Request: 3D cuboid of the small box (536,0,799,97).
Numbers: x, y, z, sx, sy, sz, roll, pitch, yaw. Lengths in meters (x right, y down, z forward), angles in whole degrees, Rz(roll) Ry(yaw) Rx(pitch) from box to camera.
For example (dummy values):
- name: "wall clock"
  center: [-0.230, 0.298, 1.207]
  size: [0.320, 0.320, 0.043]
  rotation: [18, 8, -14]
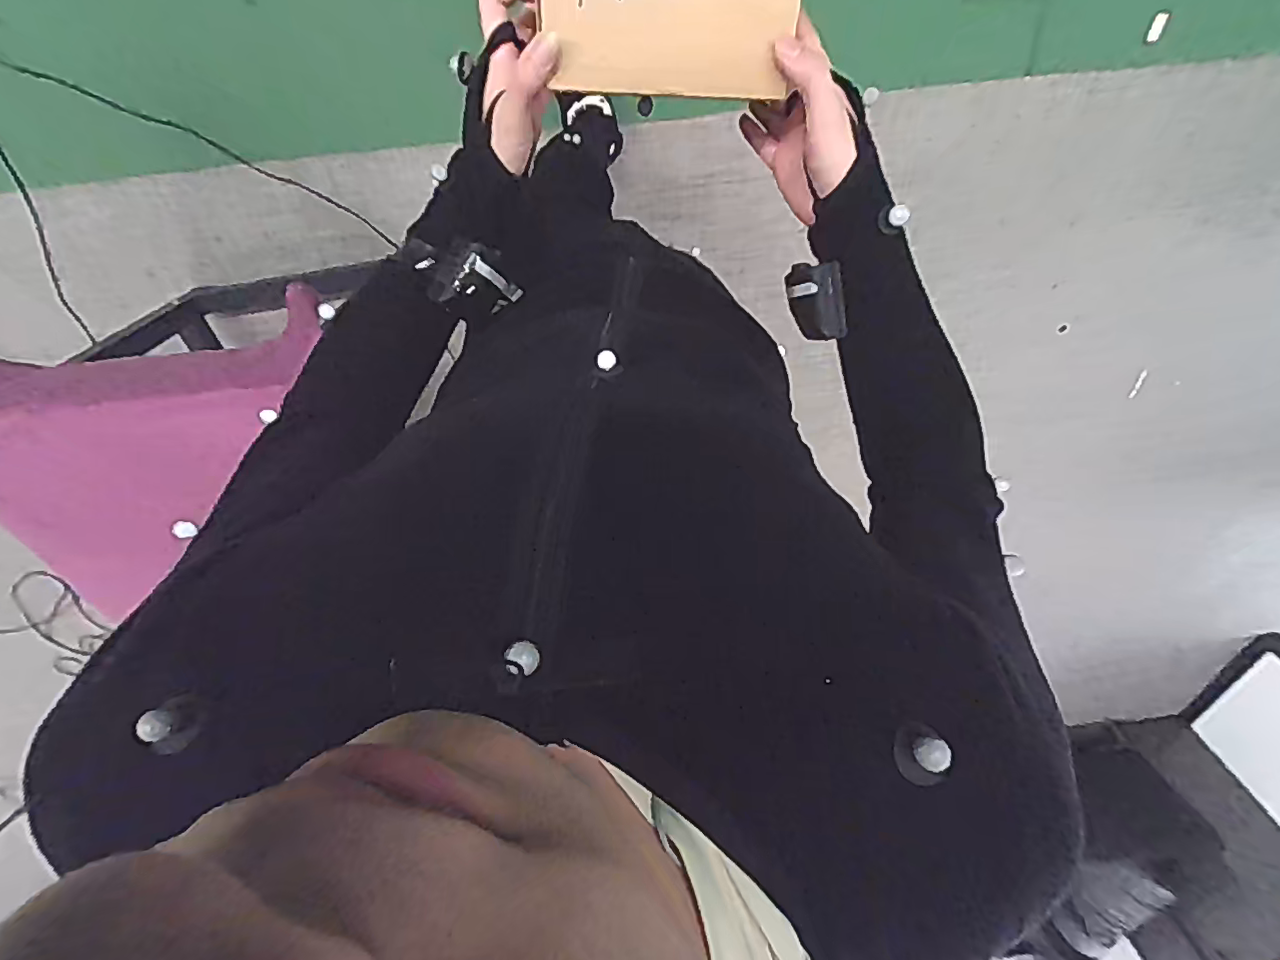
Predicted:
- name: "small box"
  center: [0.019, -0.390, 0.401]
  size: [0.179, 0.176, 0.168]
  rotation: [1, 125, -2]
